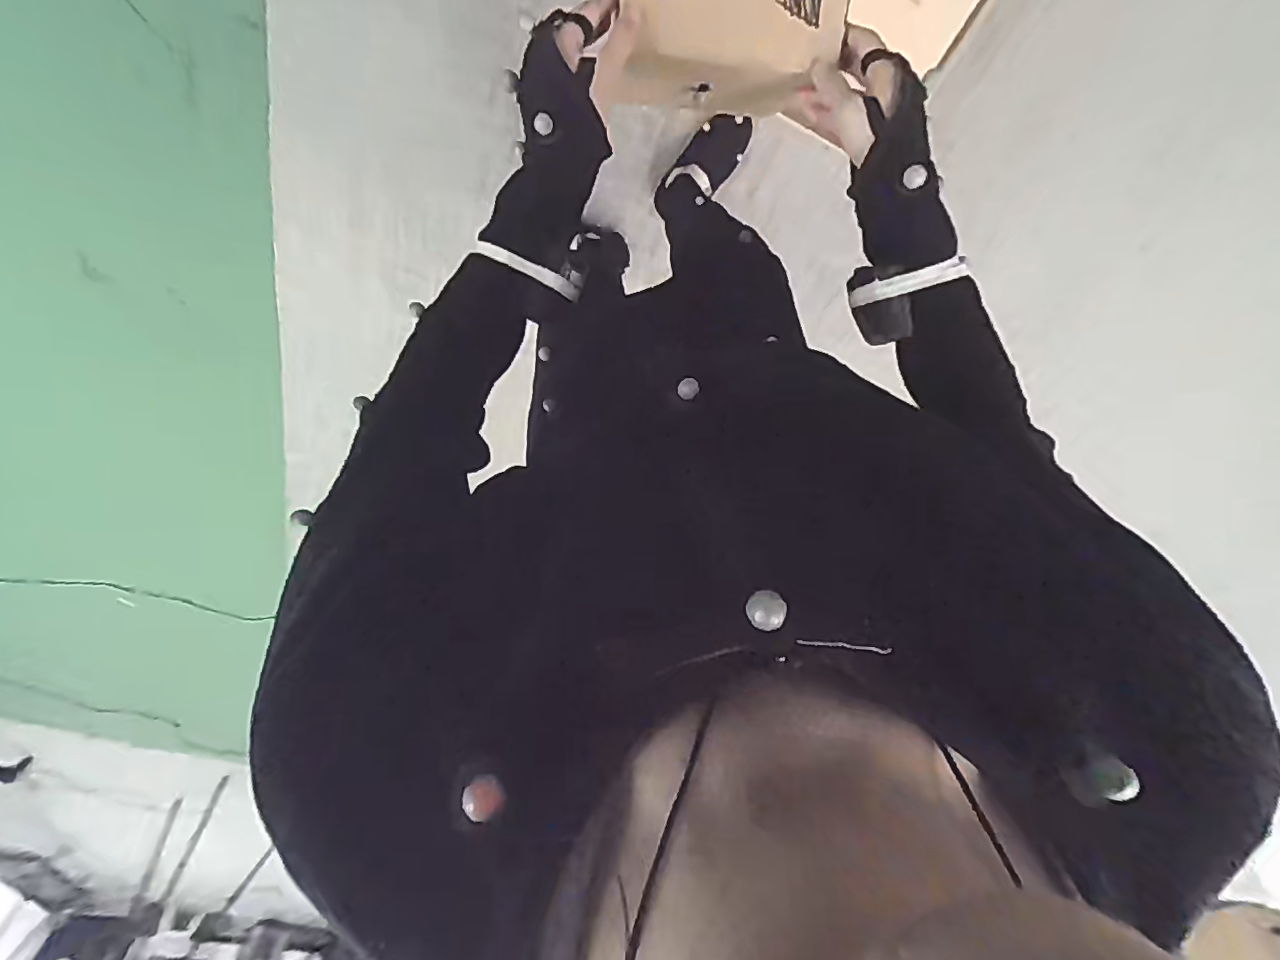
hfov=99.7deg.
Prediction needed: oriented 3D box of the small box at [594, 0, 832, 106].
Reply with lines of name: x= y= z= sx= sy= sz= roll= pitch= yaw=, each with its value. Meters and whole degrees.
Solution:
small box: x=0.053 y=-0.430 z=0.449 sx=0.179 sy=0.176 sz=0.168 roll=2 pitch=114 yaw=-6

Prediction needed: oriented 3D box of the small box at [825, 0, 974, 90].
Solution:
small box: x=0.368 y=-0.708 z=0.781 sx=0.168 sy=0.176 sz=0.179 roll=21 pitch=128 yaw=-14
